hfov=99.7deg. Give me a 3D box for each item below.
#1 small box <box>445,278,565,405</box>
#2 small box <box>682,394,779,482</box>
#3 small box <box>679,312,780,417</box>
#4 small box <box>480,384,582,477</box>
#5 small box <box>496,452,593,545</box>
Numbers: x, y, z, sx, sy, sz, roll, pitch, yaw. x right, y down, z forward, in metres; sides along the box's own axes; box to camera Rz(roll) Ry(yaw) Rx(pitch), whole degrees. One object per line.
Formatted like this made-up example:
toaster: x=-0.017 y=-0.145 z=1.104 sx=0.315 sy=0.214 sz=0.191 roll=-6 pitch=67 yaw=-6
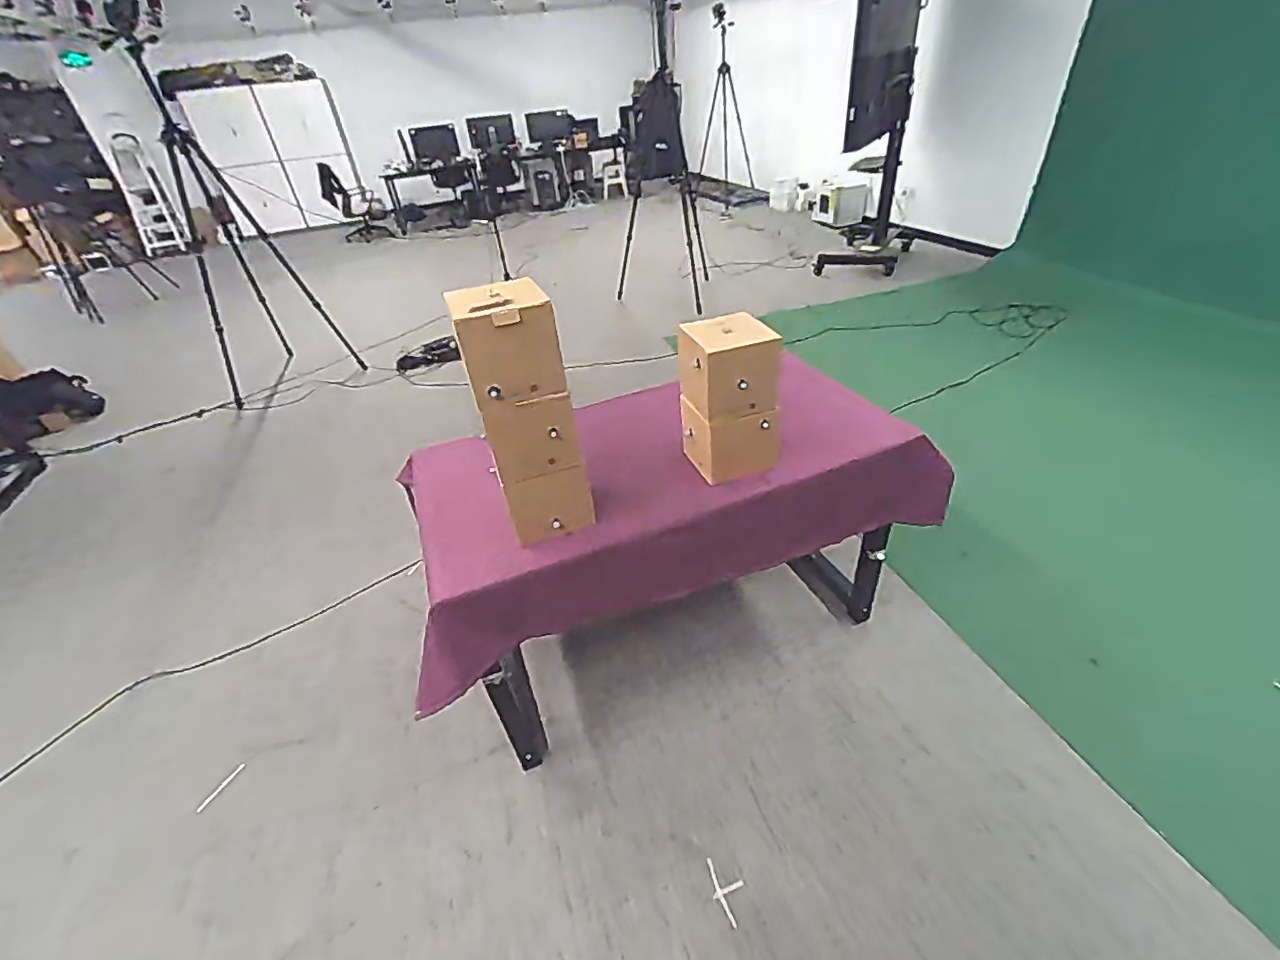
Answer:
small box: x=-0.246 y=-0.253 z=0.998 sx=0.168 sy=0.176 sz=0.179 roll=-17 pitch=37 yaw=-14
small box: x=0.214 y=-0.117 z=1.292 sx=0.179 sy=0.176 sz=0.168 roll=-16 pitch=37 yaw=-12
small box: x=0.196 y=-0.251 z=1.199 sx=0.168 sy=0.176 sz=0.179 roll=-14 pitch=37 yaw=-10
small box: x=-0.223 y=-0.120 z=1.093 sx=0.168 sy=0.176 sz=0.179 roll=-15 pitch=37 yaw=-12
small box: x=-0.207 y=0.013 z=1.185 sx=0.179 sy=0.176 sz=0.168 roll=-16 pitch=37 yaw=-13
